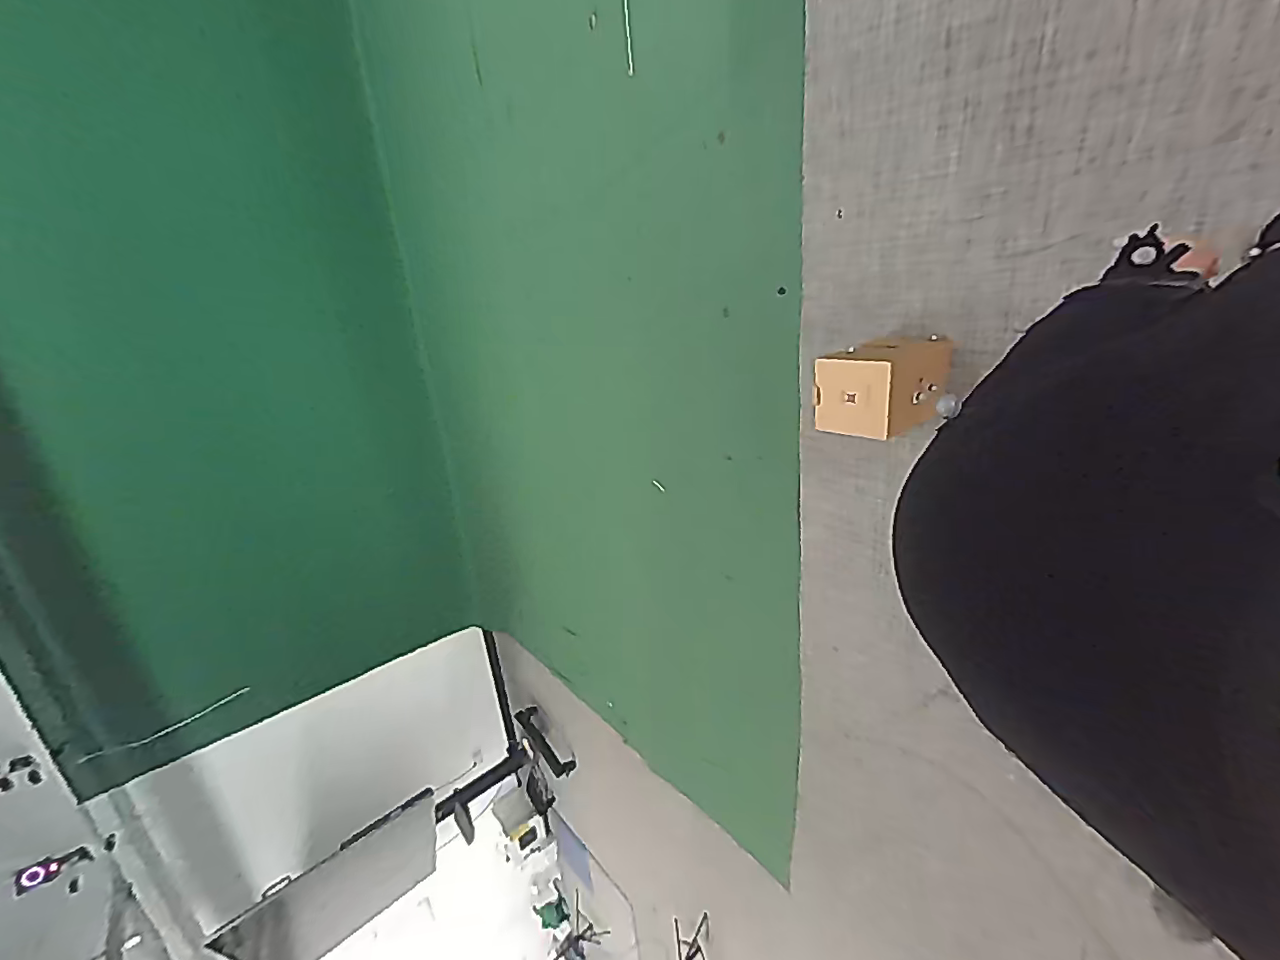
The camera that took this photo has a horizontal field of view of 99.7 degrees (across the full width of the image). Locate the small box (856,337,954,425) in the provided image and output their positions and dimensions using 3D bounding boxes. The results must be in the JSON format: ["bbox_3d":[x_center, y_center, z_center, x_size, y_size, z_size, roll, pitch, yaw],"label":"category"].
[{"bbox_3d":[0.633,-0.246,1.307,0.168,0.176,0.179,21,123,47],"label":"small box"}]

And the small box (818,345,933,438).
[{"bbox_3d":[0.518,-0.203,1.200,0.179,0.176,0.168,16,120,48],"label":"small box"}]
